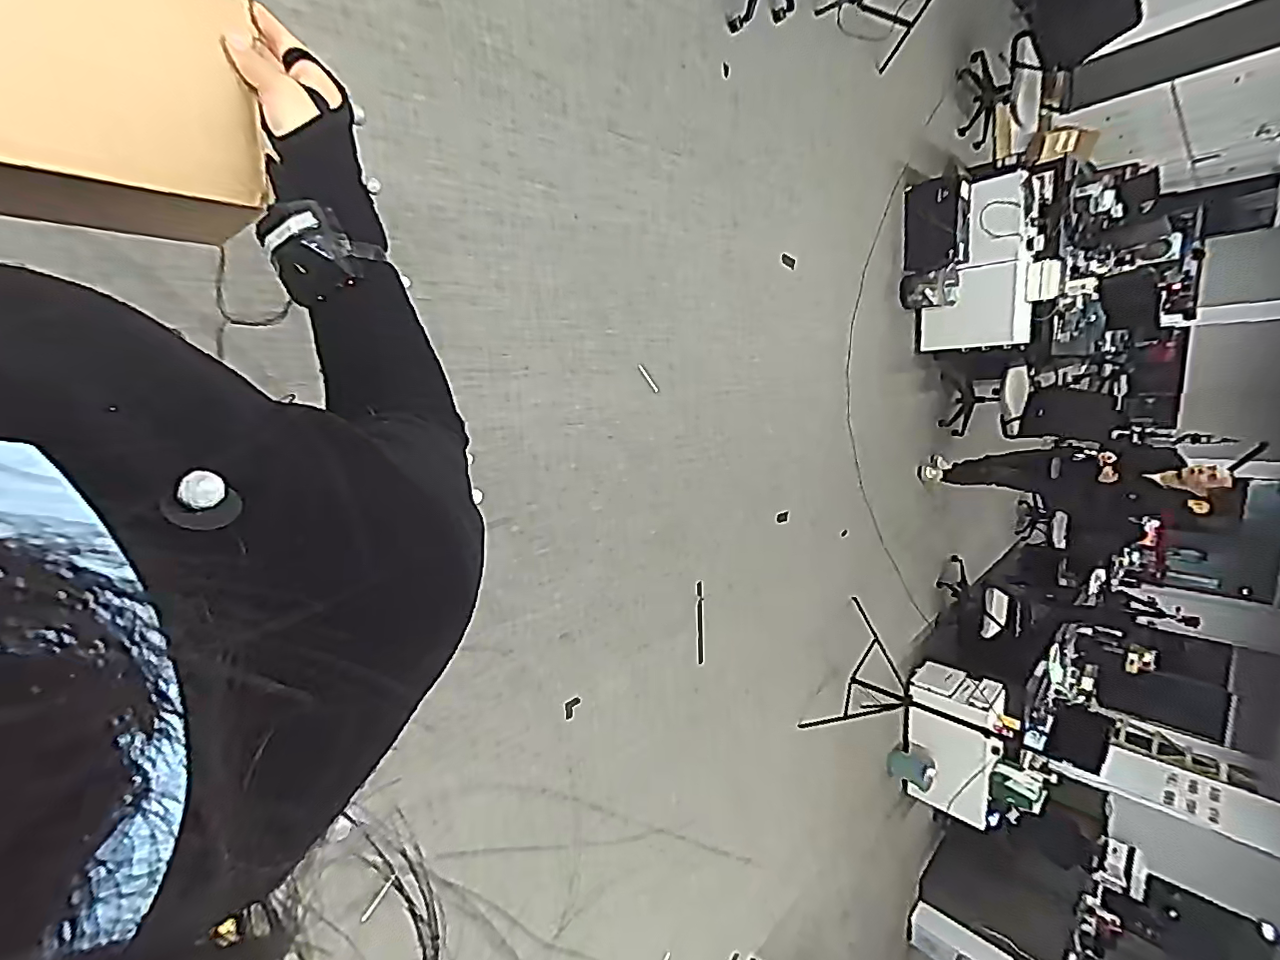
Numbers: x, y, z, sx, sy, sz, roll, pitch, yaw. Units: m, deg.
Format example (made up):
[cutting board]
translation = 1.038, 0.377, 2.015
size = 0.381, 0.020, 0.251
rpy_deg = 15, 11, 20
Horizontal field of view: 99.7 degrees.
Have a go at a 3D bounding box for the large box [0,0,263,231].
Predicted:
[large box]
translation = -0.553, -0.387, 0.390
size = 0.408, 0.320, 0.320
rpy_deg = -10, 108, -42
